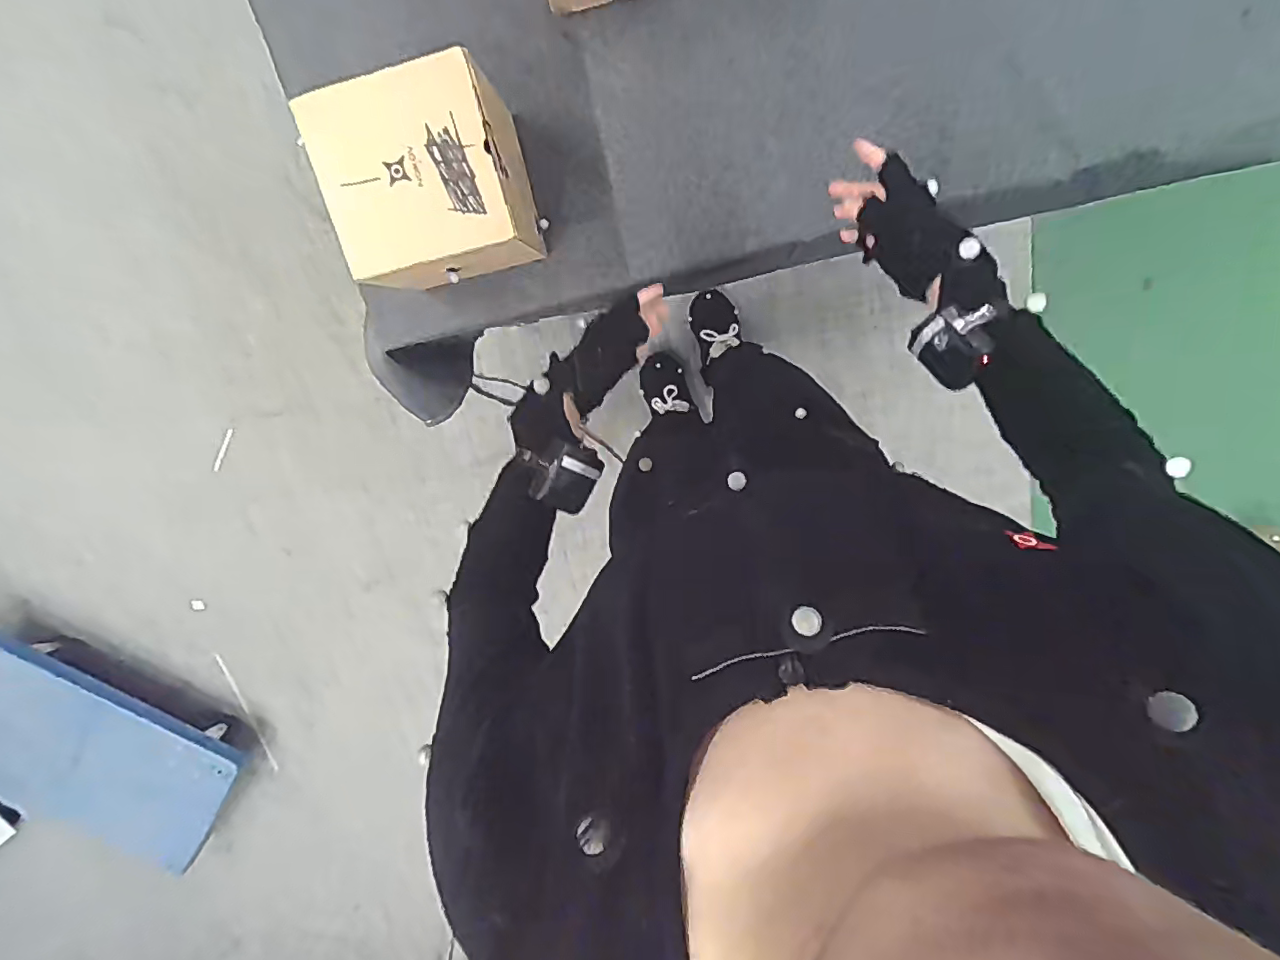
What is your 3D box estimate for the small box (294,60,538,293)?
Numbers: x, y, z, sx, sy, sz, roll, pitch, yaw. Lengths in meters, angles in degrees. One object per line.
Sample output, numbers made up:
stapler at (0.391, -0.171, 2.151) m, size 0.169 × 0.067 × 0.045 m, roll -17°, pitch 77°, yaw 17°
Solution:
small box at (-0.221, -0.312, 0.595) m, size 0.179 × 0.176 × 0.168 m, roll -12°, pitch 105°, yaw 5°
